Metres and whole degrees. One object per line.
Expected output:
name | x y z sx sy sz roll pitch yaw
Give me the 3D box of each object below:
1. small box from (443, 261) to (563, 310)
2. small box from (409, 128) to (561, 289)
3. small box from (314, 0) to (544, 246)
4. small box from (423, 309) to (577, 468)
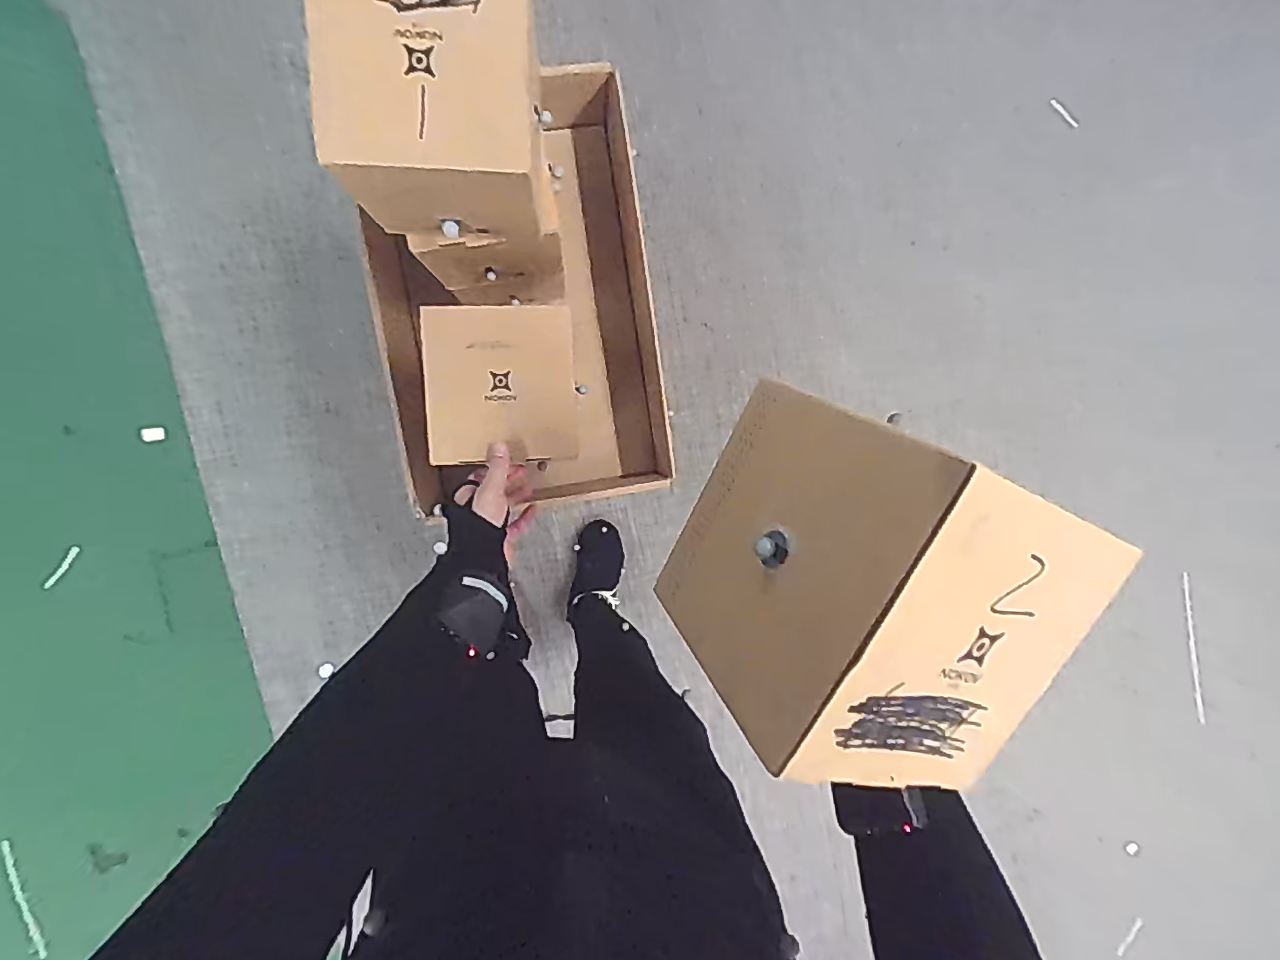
small box | -0.212 -0.371 0.825 0.168 0.176 0.179 -10 97 -5
small box | -0.193 -0.351 0.666 0.168 0.176 0.179 -10 98 -6
small box | -0.178 -0.337 0.502 0.168 0.176 0.179 -1 97 -7
small box | -0.165 -0.109 0.686 0.168 0.176 0.179 -2 94 -7
